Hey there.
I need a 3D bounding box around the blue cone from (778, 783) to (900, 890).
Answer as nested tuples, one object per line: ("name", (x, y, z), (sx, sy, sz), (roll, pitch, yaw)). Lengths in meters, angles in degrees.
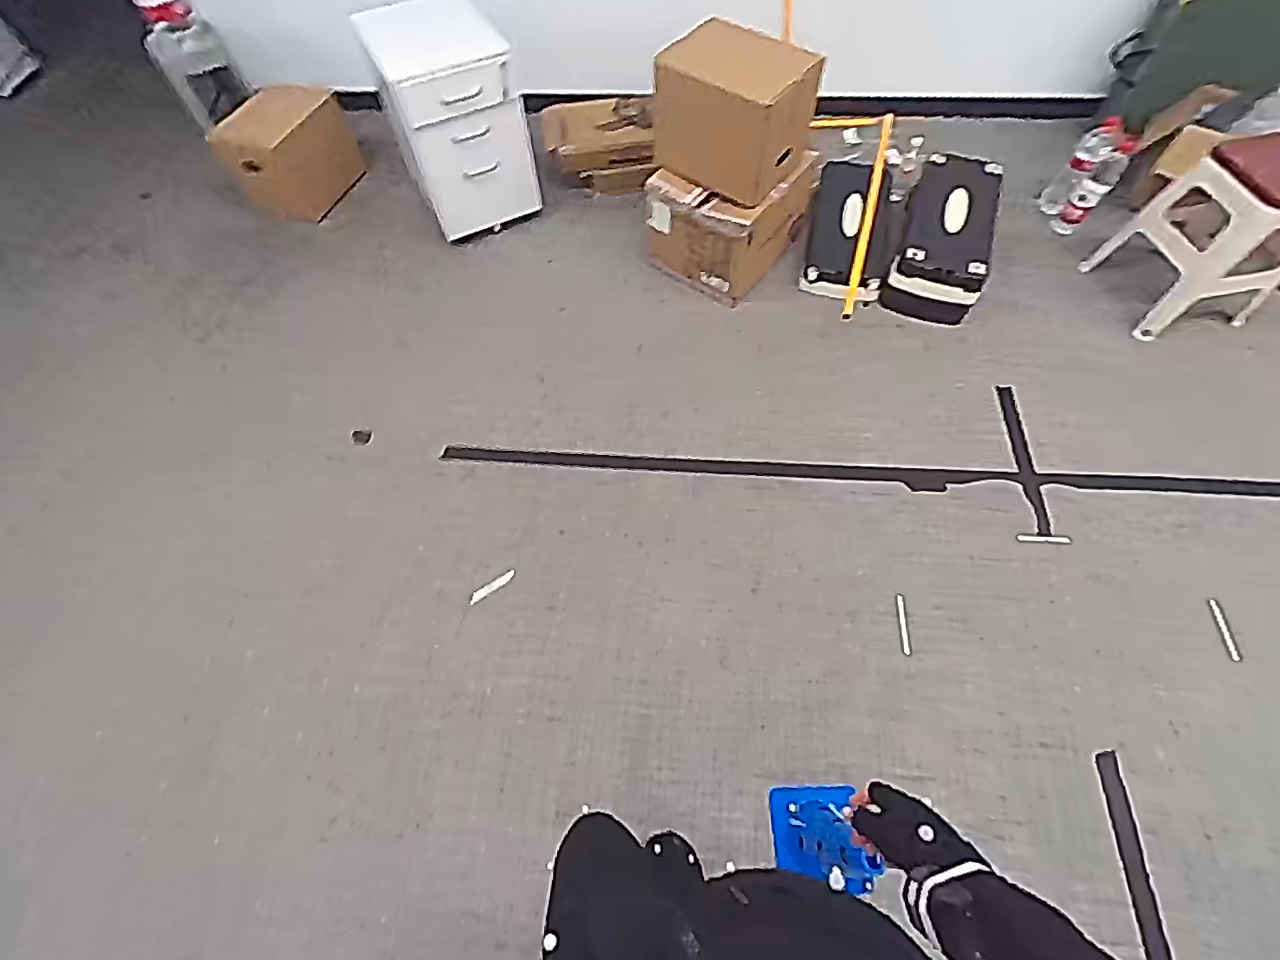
("blue cone", (0.394, 0.687, 1.025), (0.192, 0.380, 0.193), (-1, 61, 2))
